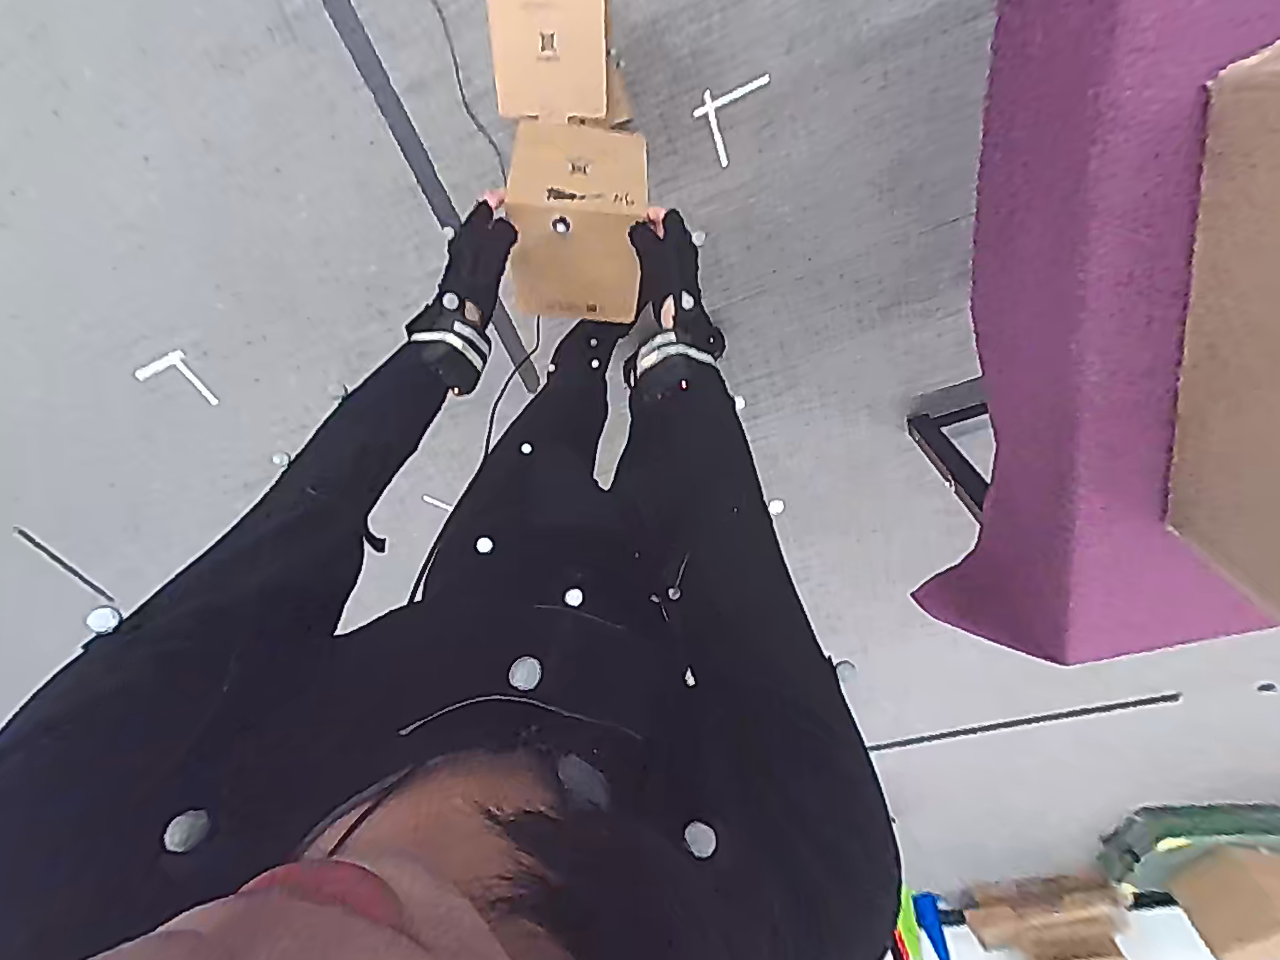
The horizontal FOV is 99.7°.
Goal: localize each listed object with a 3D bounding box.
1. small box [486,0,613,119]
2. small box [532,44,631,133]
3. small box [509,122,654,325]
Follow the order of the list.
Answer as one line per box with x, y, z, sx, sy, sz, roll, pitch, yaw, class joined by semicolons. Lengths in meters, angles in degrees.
-0.129;-0.662;0.831;0.168;0.176;0.179;0;123;1;small box
-0.121;-0.726;0.982;0.168;0.176;0.179;-15;122;12;small box
-0.076;-0.334;0.716;0.168;0.179;0.176;3;147;-6;small box
